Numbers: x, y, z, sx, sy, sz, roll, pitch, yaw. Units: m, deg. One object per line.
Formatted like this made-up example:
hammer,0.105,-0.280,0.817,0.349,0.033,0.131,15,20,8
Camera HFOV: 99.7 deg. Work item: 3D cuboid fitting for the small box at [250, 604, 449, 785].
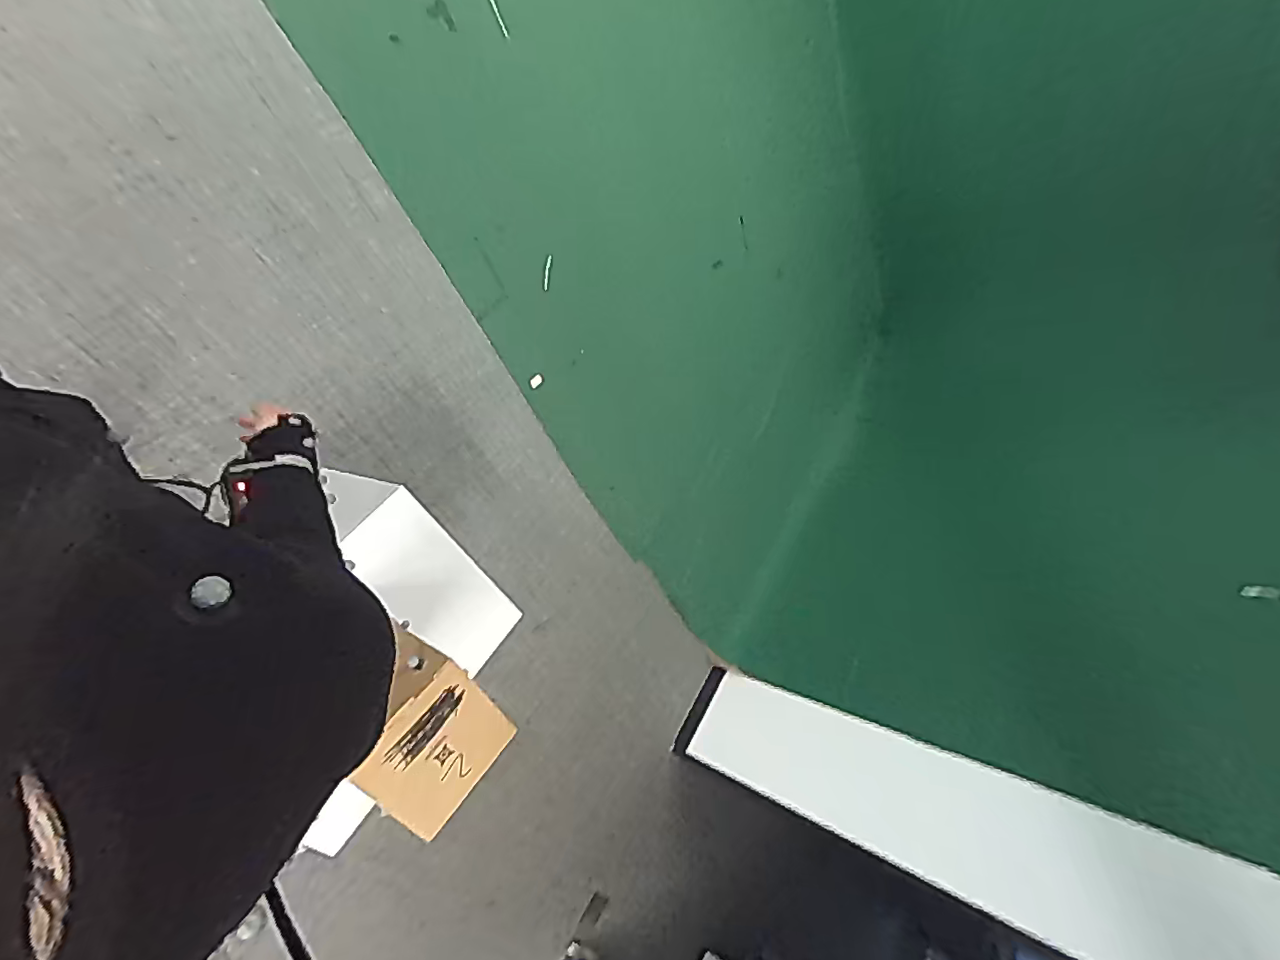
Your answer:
small box,-0.437,0.315,0.822,0.168,0.176,0.179,-51,131,-33
